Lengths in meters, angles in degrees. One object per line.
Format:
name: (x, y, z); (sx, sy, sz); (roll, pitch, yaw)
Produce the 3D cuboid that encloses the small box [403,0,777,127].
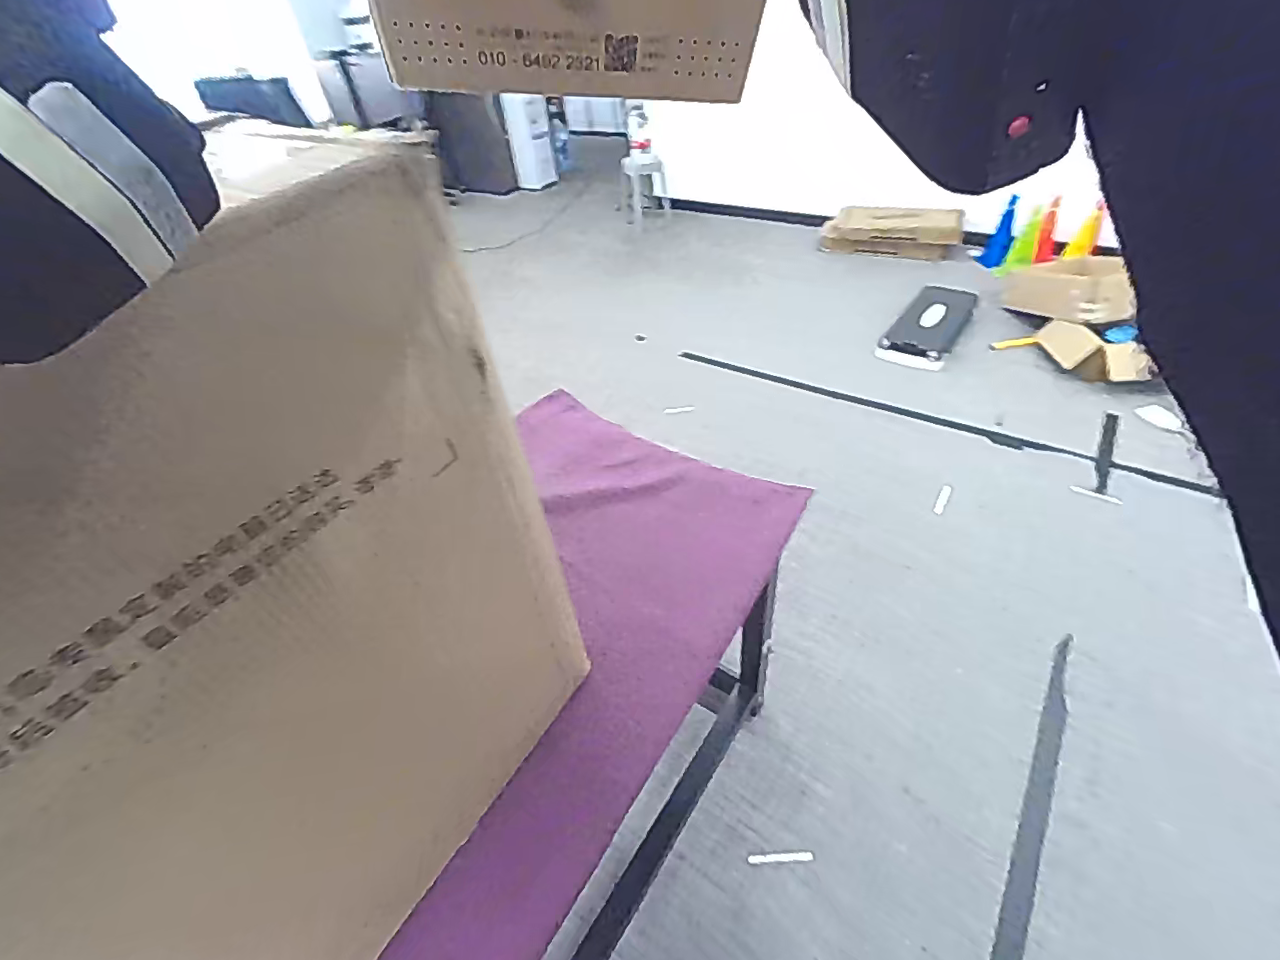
small box: (-0.024, -0.290, 0.228); (0.168, 0.176, 0.179); (-2, 66, -6)
